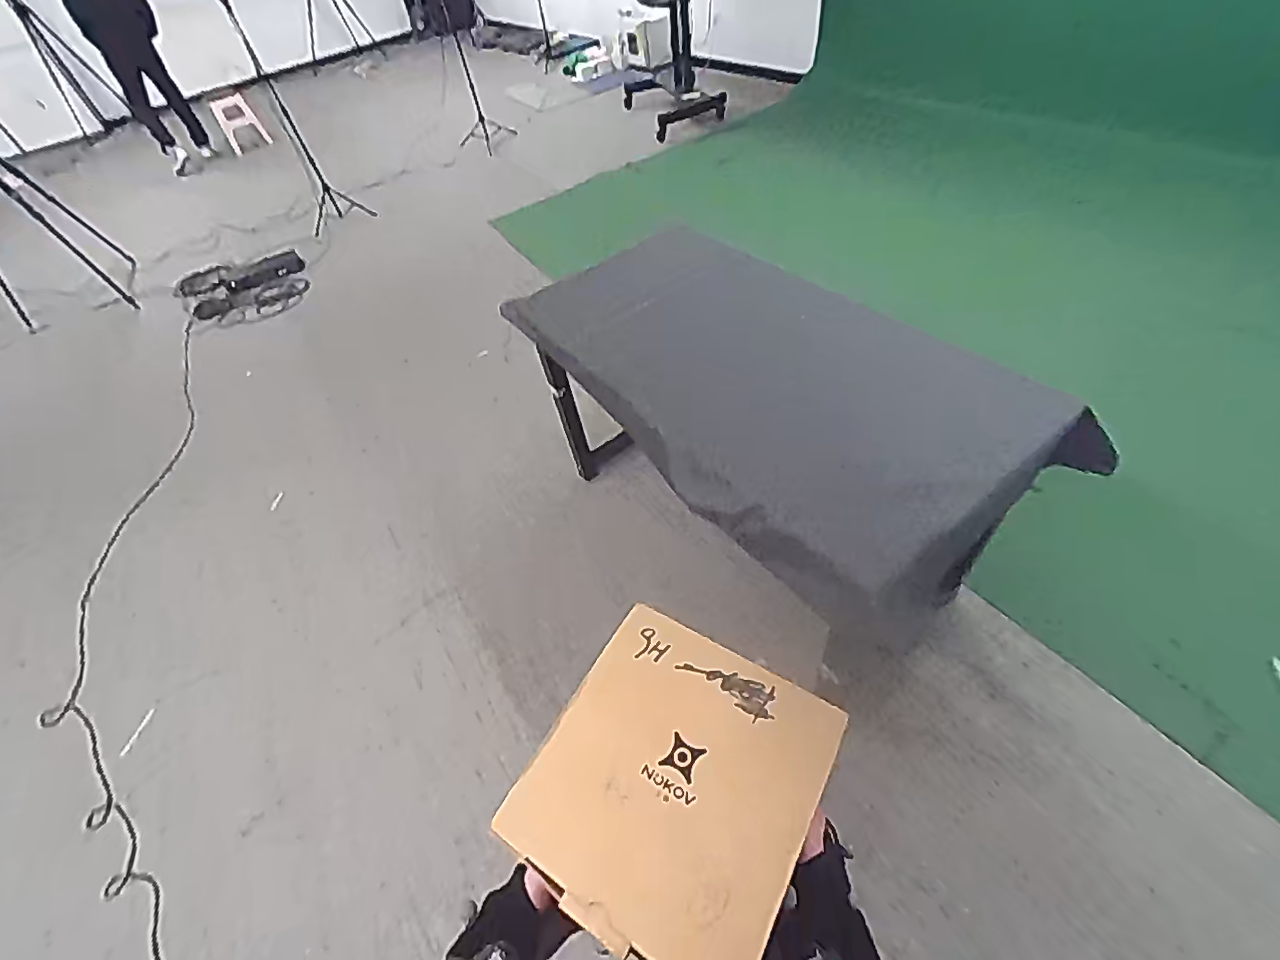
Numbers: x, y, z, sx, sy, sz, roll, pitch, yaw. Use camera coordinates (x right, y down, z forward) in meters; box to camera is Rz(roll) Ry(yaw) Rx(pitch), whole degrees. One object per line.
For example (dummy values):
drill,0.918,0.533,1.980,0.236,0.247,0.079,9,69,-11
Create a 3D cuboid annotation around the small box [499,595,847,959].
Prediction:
small box,0.032,0.226,0.403,0.168,0.176,0.179,23,57,23
